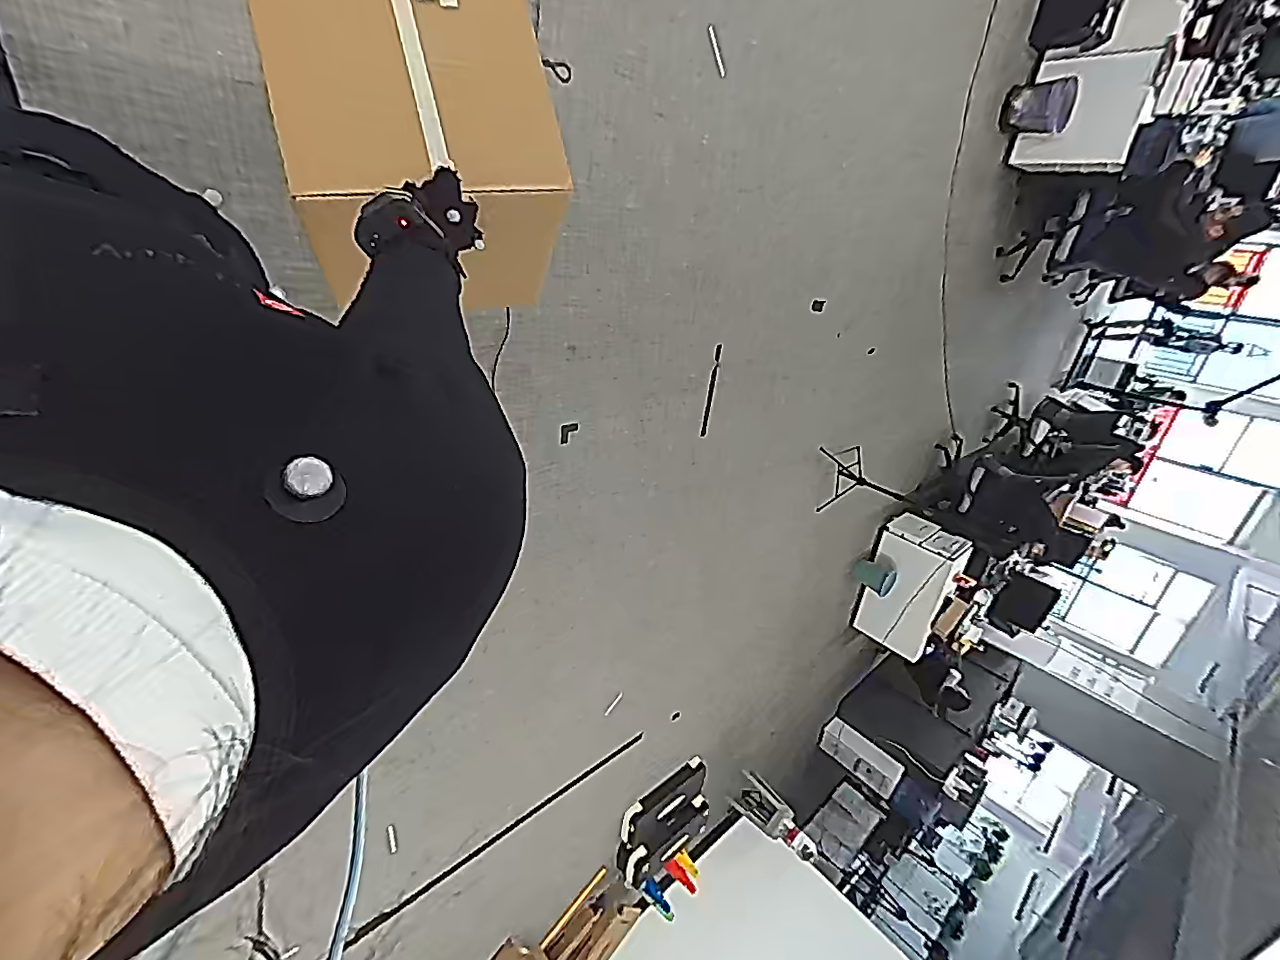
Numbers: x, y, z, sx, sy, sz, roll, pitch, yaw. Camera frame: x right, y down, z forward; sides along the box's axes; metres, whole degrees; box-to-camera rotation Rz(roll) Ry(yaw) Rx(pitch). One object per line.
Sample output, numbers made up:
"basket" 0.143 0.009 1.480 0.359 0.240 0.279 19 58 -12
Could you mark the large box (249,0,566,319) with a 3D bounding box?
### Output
"large box" -0.333 -0.501 0.791 0.320 0.320 0.408 -13 85 -23
